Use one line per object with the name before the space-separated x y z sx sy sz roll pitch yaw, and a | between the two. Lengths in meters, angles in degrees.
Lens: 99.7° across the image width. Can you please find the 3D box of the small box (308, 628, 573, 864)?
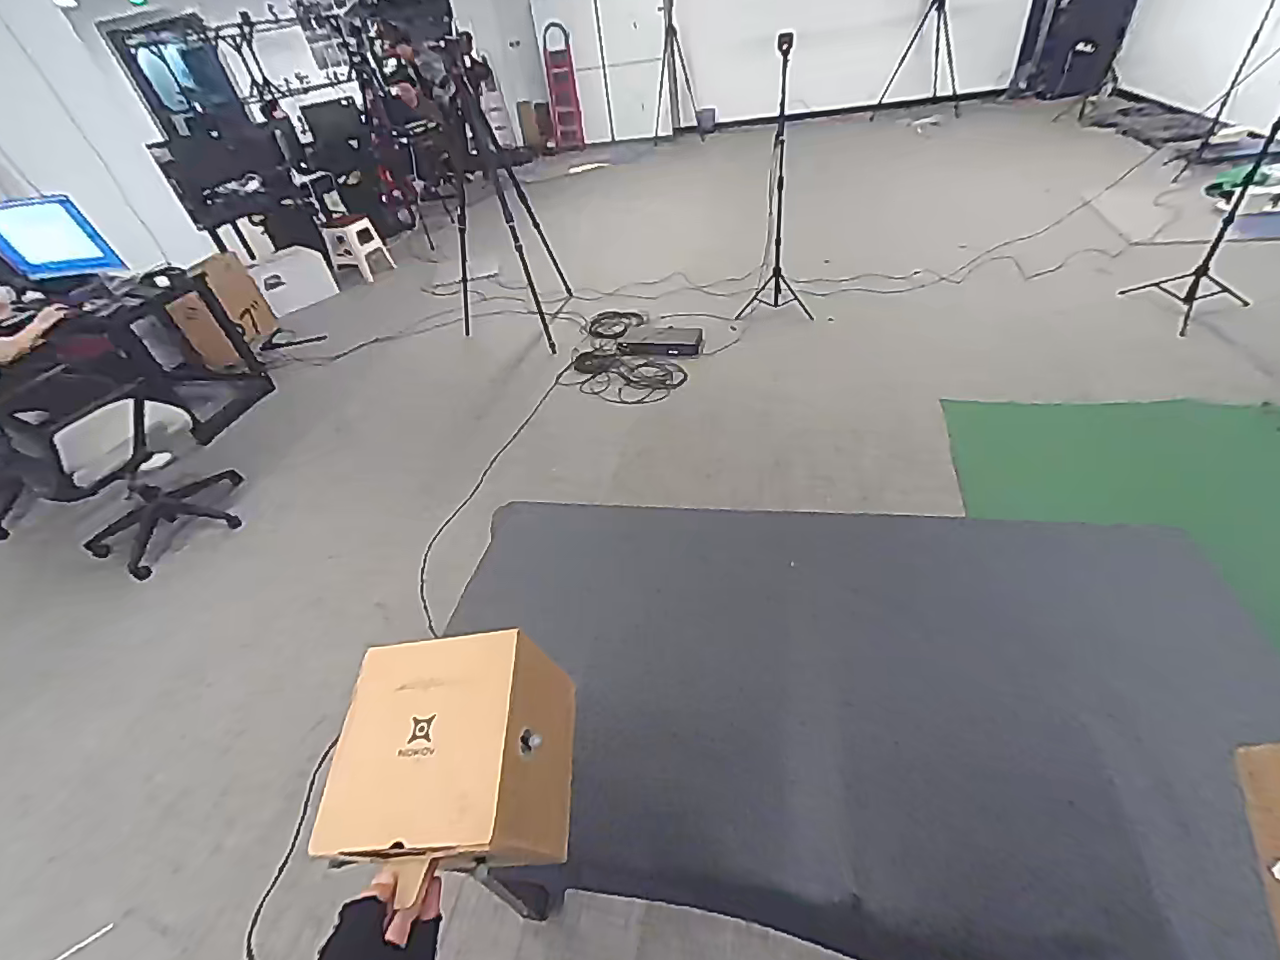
small box | -0.172 0.268 0.532 0.168 0.176 0.179 -9 50 9
